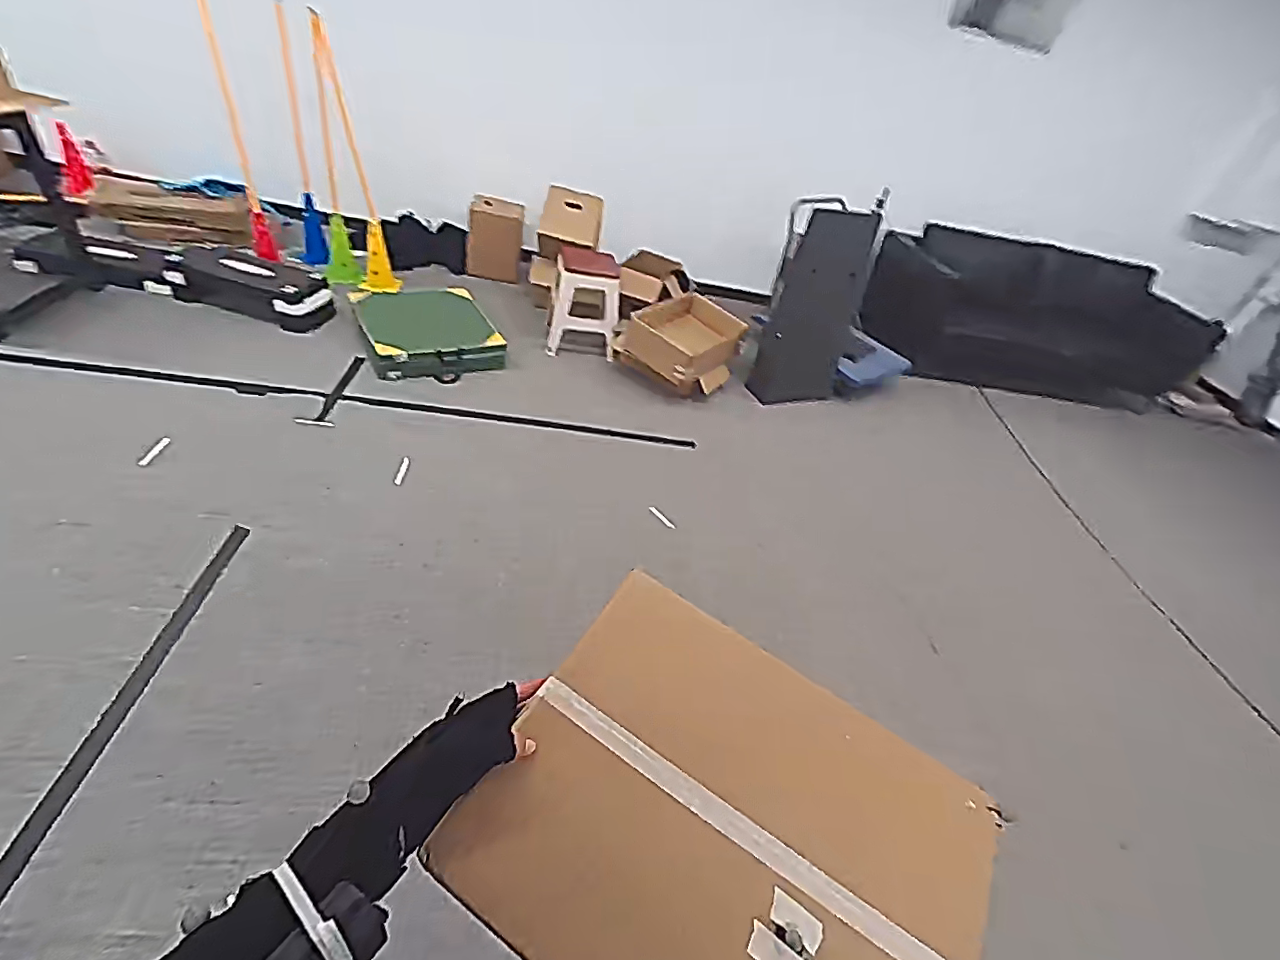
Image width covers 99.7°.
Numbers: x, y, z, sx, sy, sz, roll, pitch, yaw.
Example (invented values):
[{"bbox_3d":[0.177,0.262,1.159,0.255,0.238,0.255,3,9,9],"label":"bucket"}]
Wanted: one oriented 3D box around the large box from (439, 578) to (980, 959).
[{"bbox_3d":[0.057,0.386,0.581,0.408,0.320,0.320,31,52,13],"label":"large box"}]
